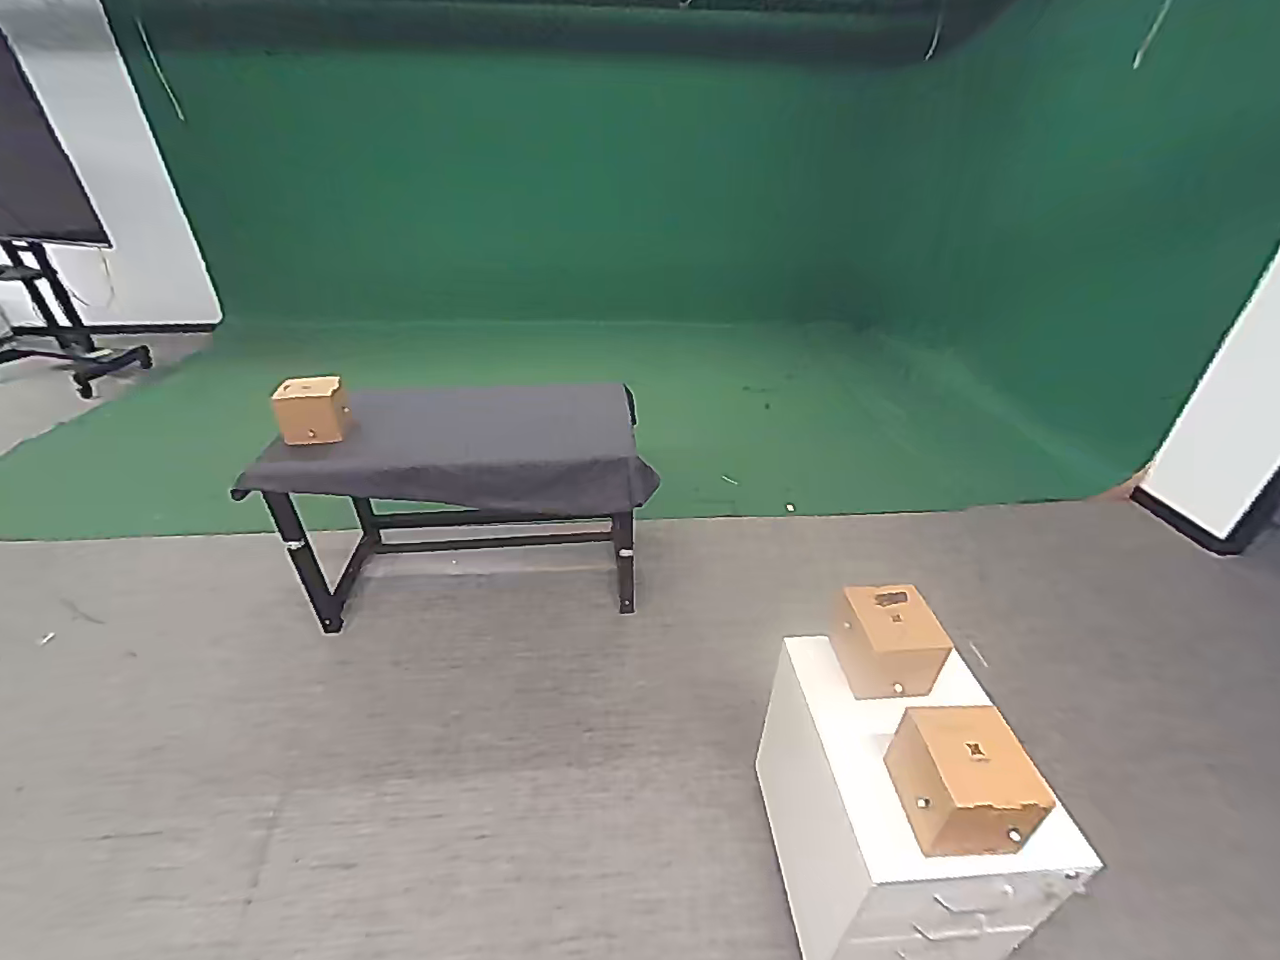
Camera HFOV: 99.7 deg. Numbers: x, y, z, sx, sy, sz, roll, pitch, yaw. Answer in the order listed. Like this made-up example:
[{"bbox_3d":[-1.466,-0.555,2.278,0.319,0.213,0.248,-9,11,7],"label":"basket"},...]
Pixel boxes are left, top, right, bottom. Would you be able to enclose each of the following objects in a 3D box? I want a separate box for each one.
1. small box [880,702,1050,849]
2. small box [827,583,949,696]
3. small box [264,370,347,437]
[{"bbox_3d":[0.550,0.517,0.944,0.168,0.176,0.179,1,32,-4],"label":"small box"},{"bbox_3d":[0.531,0.349,1.191,0.168,0.176,0.179,-1,36,-4],"label":"small box"},{"bbox_3d":[-1.096,-0.253,1.789,0.179,0.176,0.168,-5,33,-12],"label":"small box"}]
